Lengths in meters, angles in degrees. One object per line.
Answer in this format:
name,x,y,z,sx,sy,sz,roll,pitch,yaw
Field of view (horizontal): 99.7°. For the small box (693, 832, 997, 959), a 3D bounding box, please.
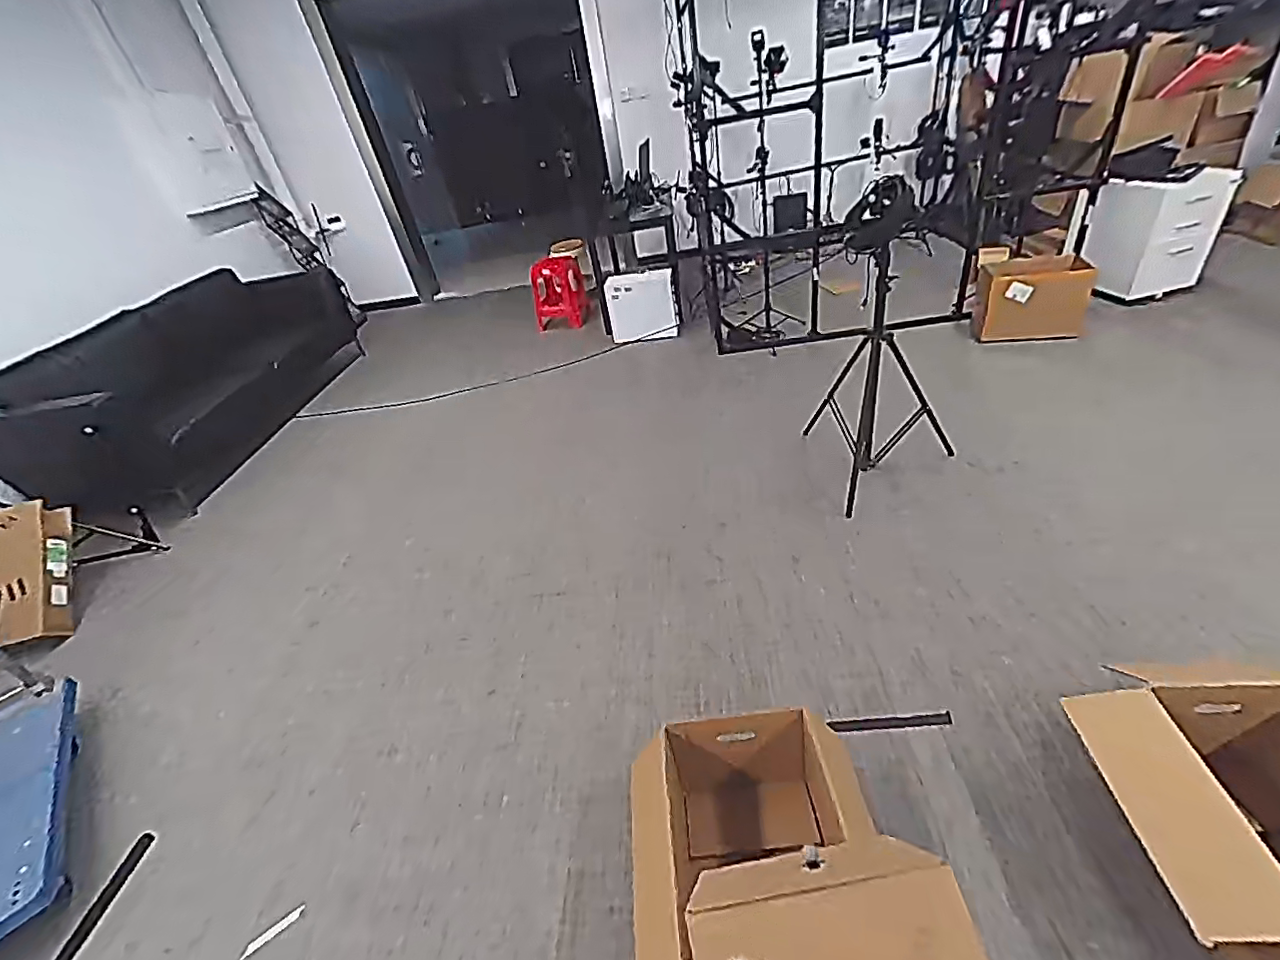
small box,0.144,0.363,0.379,0.179,0.176,0.168,-13,61,2
